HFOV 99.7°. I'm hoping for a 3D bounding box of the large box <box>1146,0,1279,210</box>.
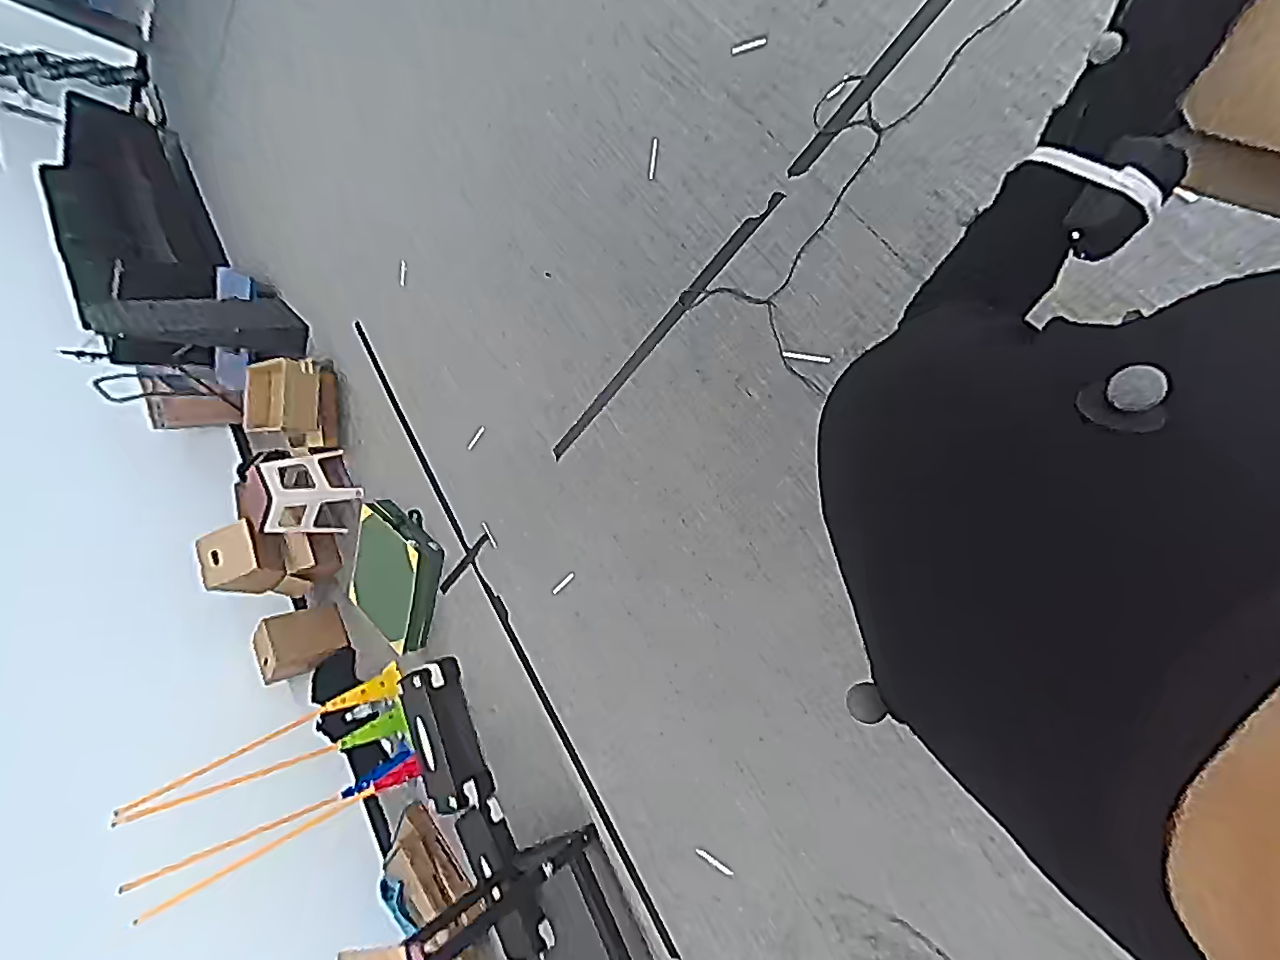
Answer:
[{"bbox_3d":[0.642,-0.309,0.318,0.408,0.320,0.320,37,128,24],"label":"large box"}]
